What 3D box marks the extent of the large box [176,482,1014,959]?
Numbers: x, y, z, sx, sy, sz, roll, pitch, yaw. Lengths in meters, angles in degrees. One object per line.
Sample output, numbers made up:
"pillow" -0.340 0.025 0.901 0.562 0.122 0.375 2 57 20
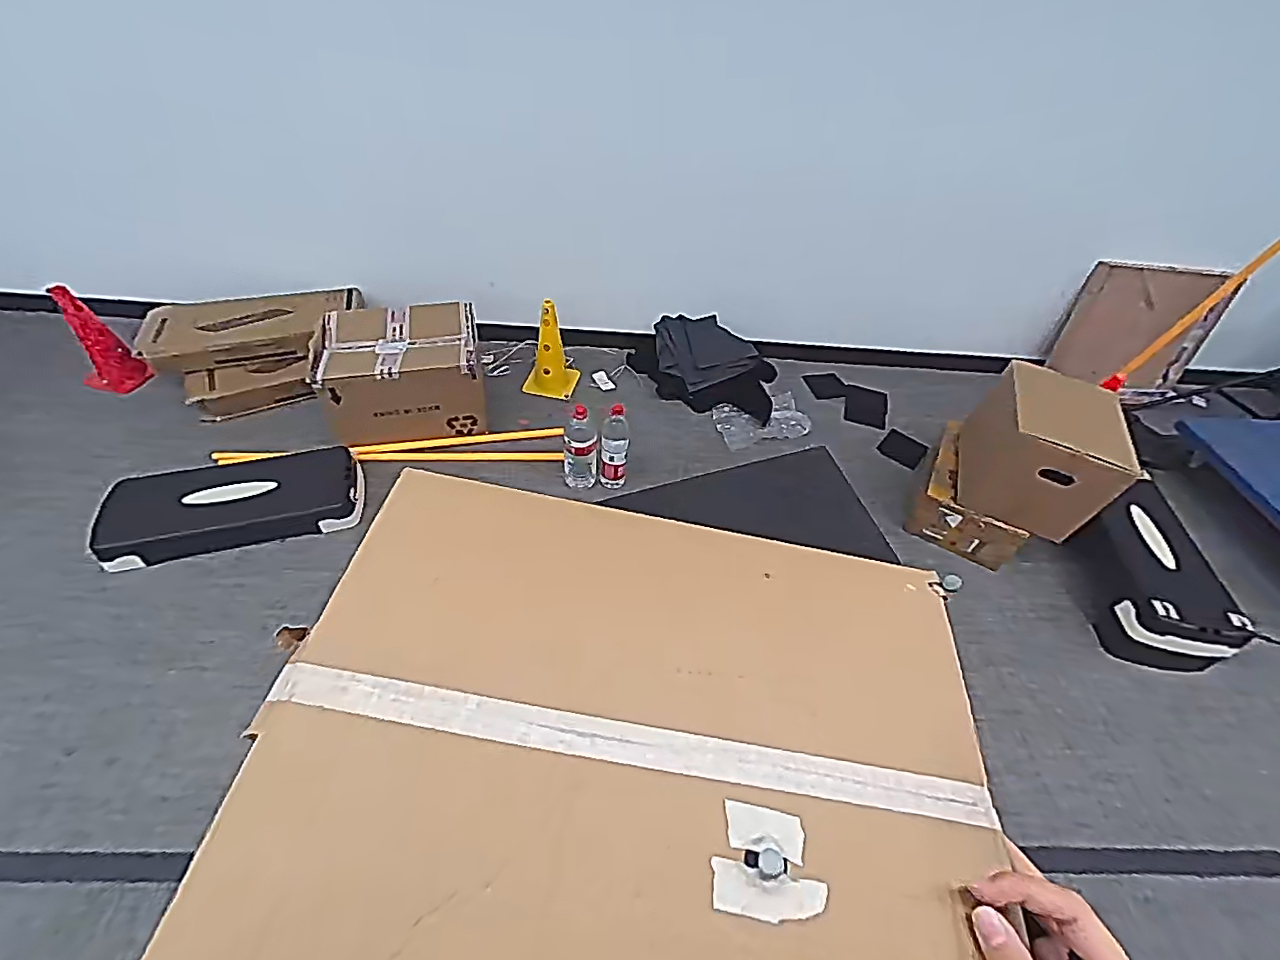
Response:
"large box" -0.017 0.245 0.432 0.408 0.320 0.320 12 52 -2
